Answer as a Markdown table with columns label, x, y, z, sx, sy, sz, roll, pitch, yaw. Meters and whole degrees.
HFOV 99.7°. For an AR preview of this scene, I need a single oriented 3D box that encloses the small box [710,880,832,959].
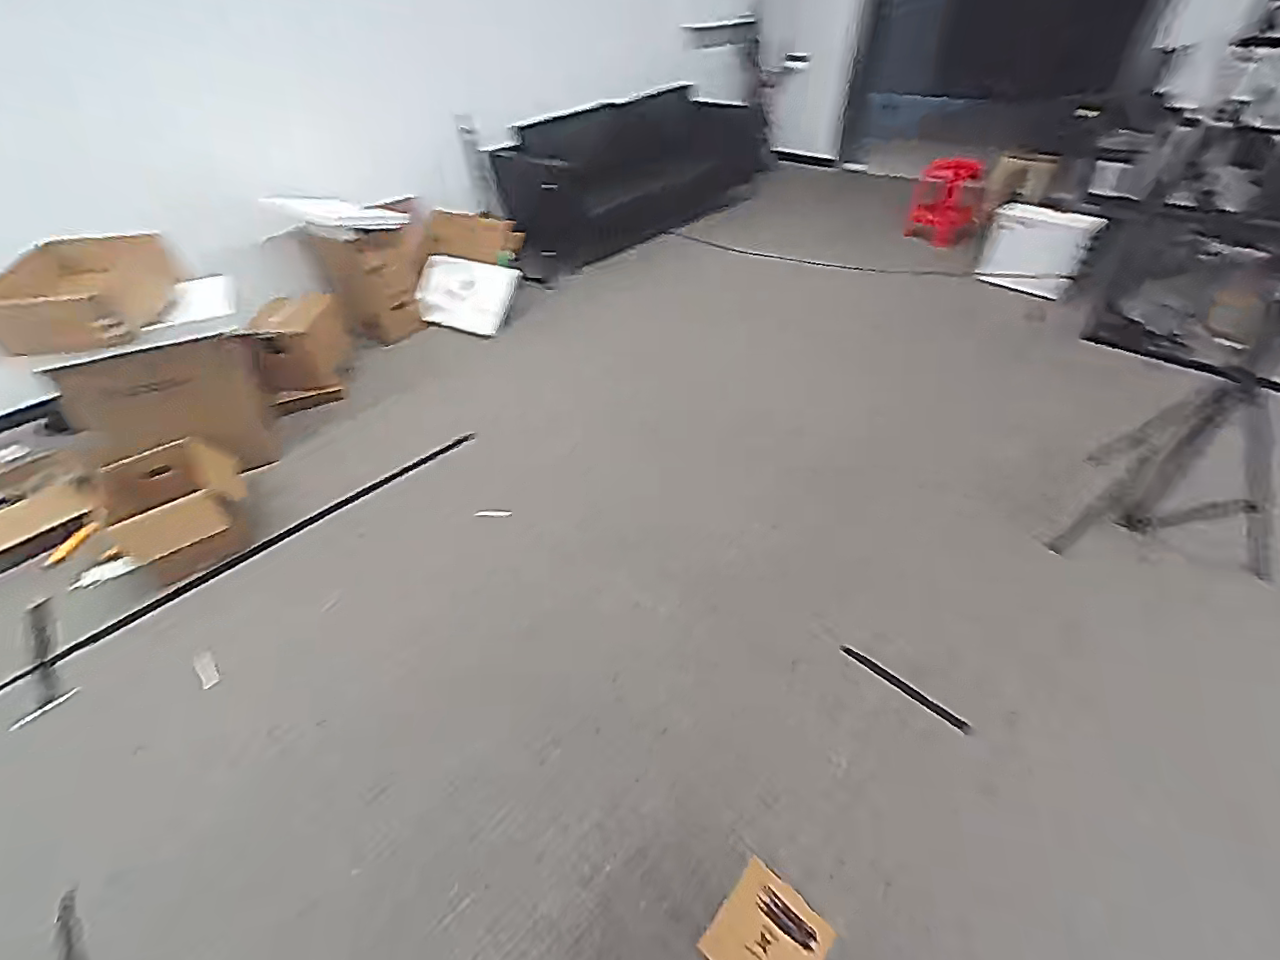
| label | x | y | z | sx | sy | sz | roll | pitch | yaw |
| --- | --- | --- | --- | --- | --- | --- | --- | --- | --- |
| small box | 0.247 | 0.947 | 1.064 | 0.168 | 0.176 | 0.179 | 31 | 53 | 33 |
